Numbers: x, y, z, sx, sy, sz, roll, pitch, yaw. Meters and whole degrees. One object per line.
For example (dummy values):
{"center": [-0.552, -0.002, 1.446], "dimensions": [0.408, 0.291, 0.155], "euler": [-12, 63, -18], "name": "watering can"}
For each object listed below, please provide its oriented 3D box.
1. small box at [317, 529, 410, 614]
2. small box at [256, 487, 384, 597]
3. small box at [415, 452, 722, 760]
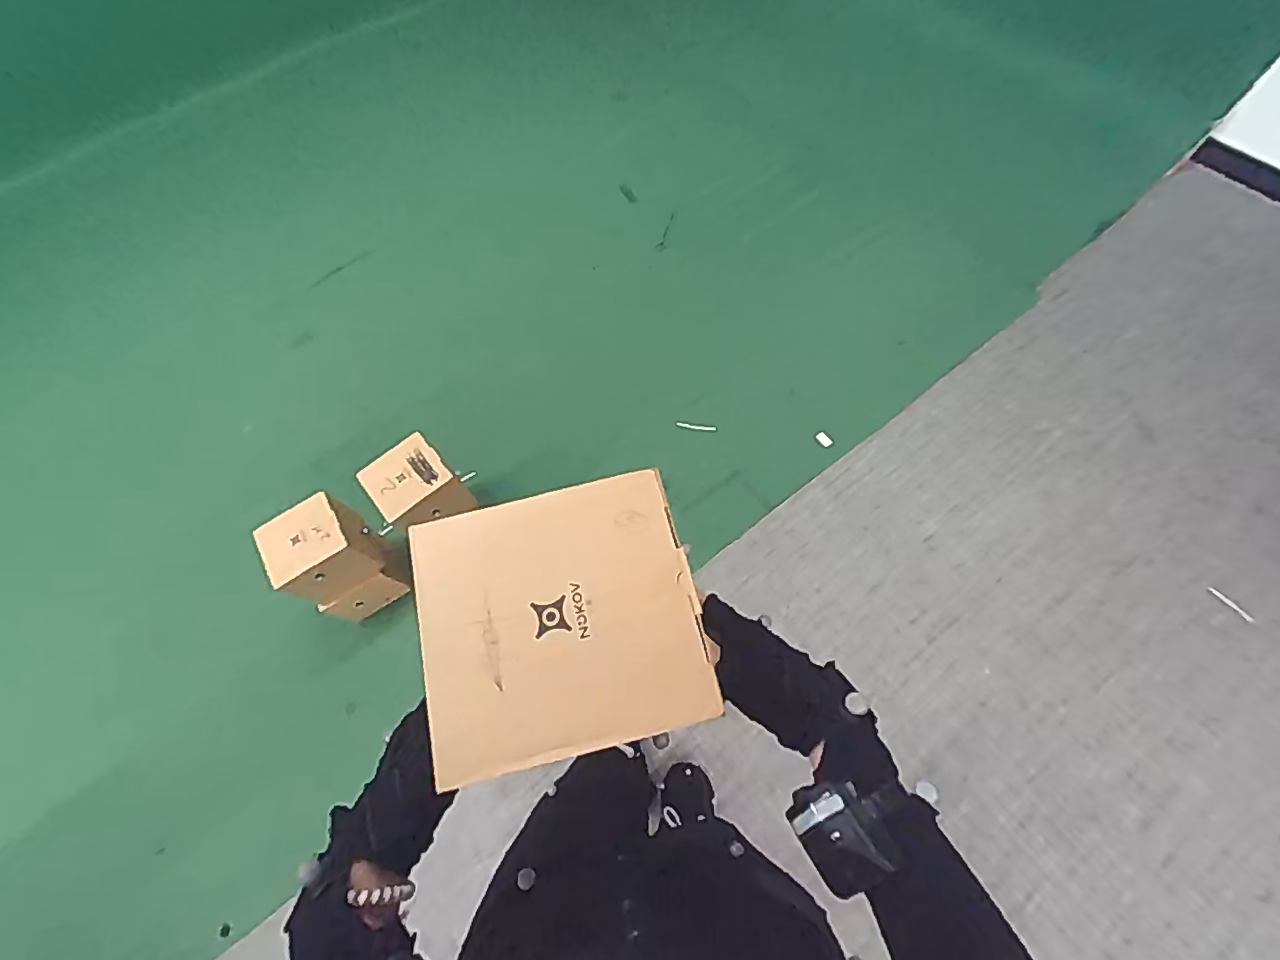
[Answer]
{"center": [-0.739, 0.234, 1.421], "dimensions": [0.168, 0.176, 0.179], "euler": [-32, 67, -10], "name": "small box"}
{"center": [-0.748, 0.154, 1.276], "dimensions": [0.179, 0.176, 0.168], "euler": [-33, 67, -10], "name": "small box"}
{"center": [-0.050, 0.099, 0.421], "dimensions": [0.179, 0.176, 0.168], "euler": [-13, 69, -3], "name": "small box"}
